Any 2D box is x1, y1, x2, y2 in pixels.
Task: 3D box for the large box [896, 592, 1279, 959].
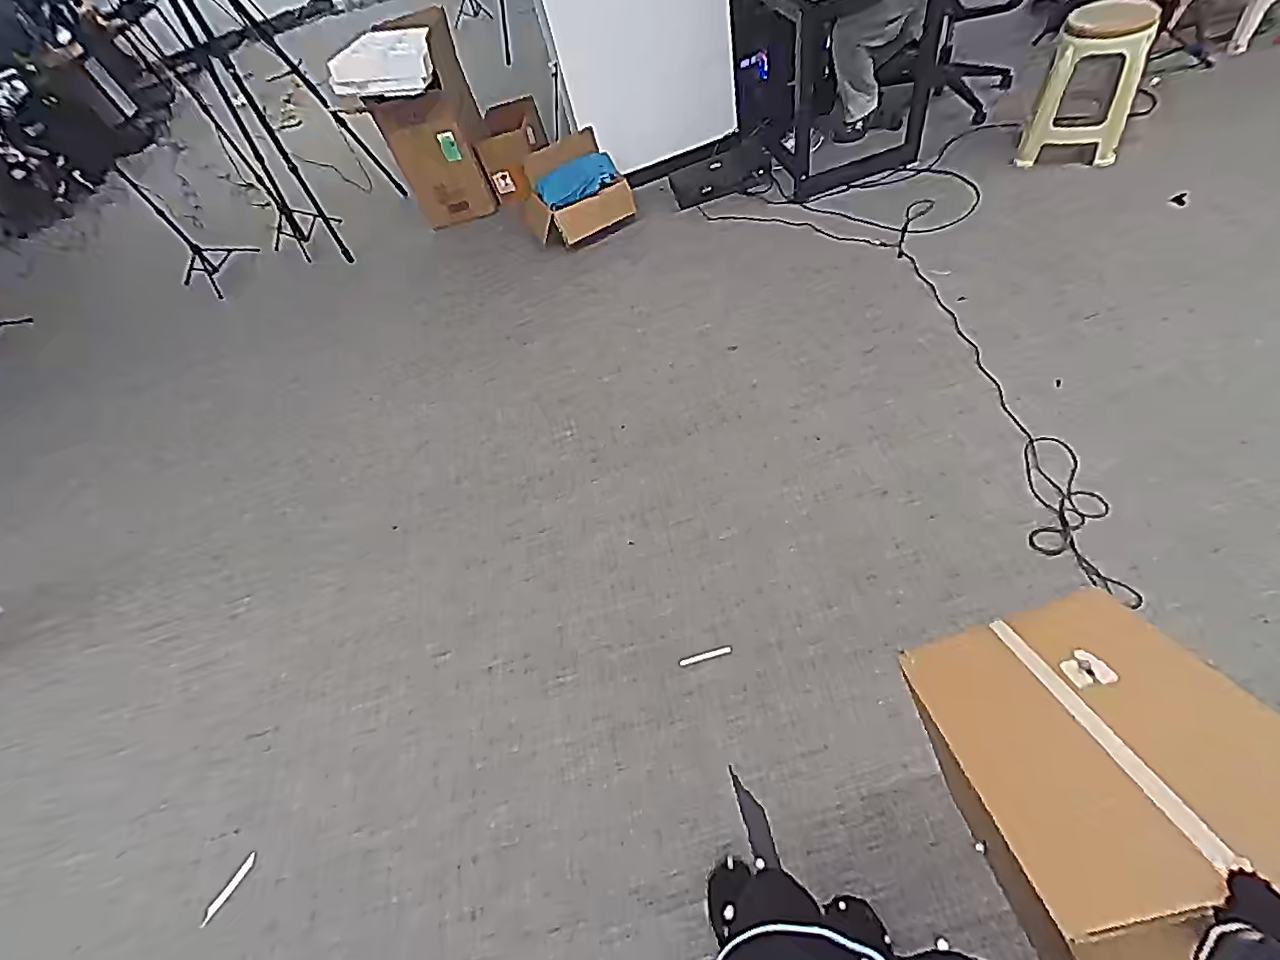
[{"bbox_3d":[0.614,0.425,0.713,0.320,0.320,0.408,-23,18,10],"label":"large box"}]
